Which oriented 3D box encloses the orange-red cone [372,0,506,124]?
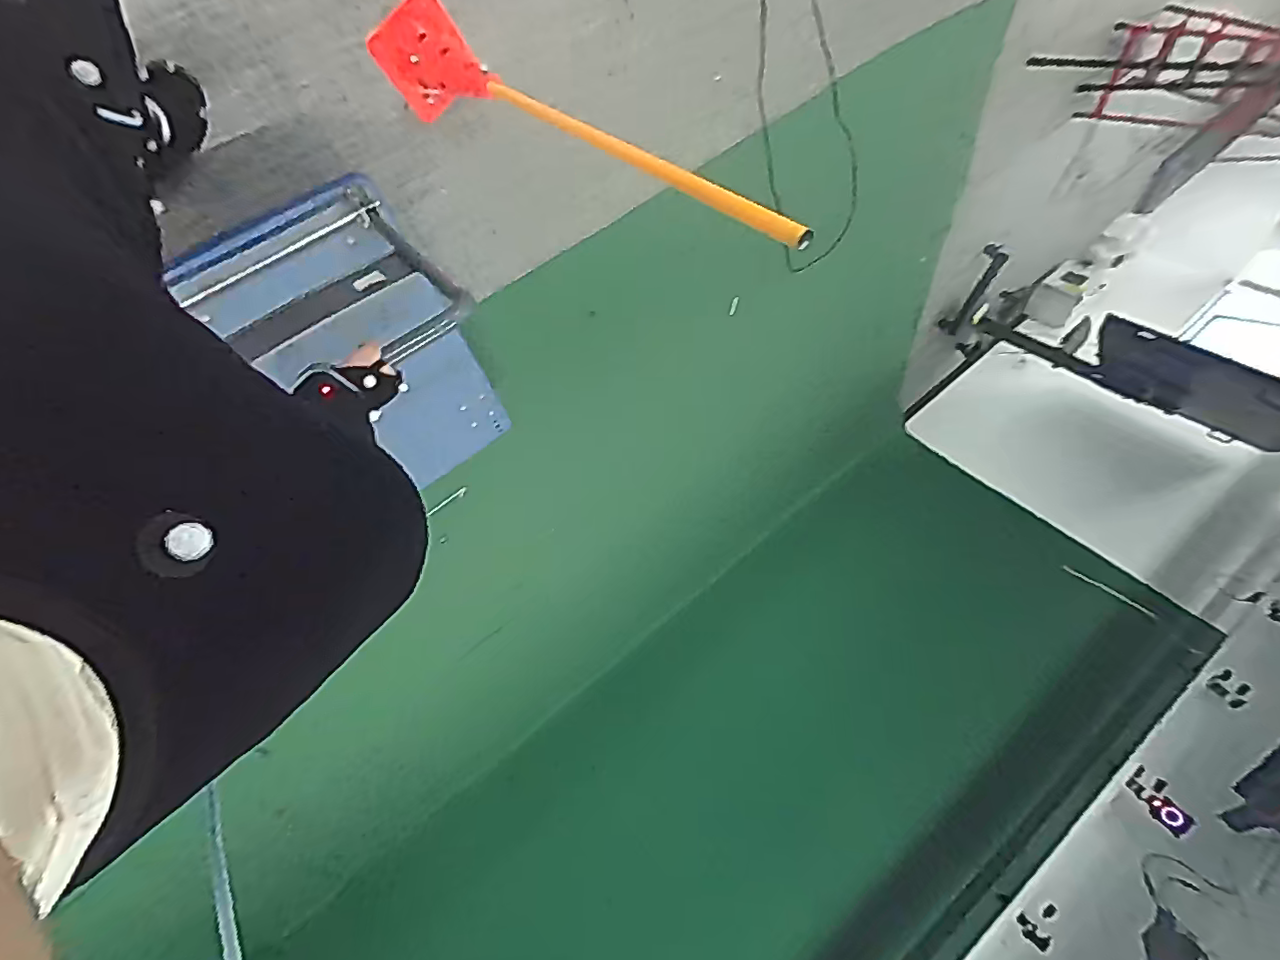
[{"bbox_3d":[-0.392,-0.884,1.177,0.199,0.360,0.198,-46,148,-1],"label":"orange-red cone"}]
